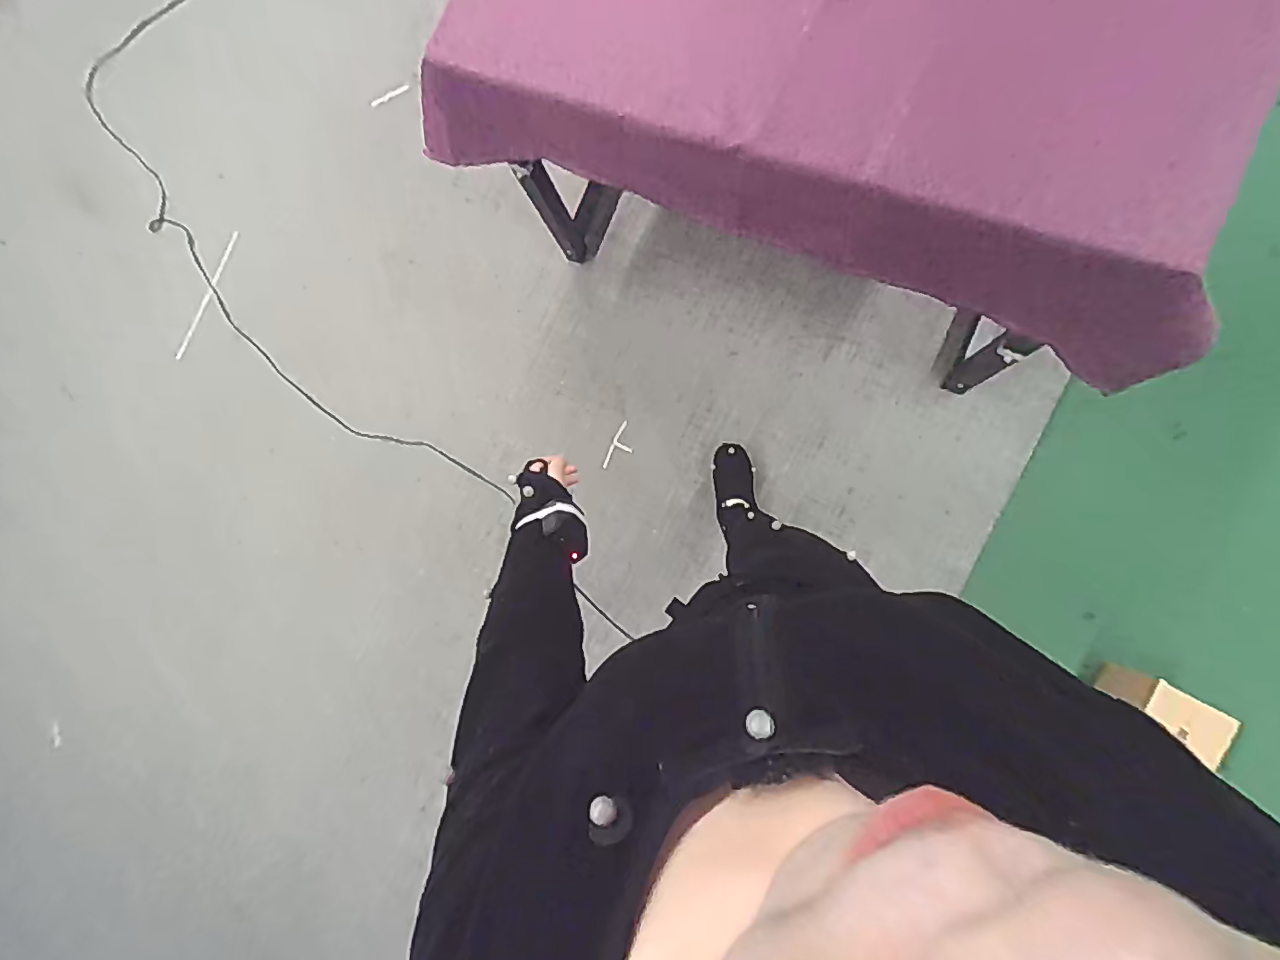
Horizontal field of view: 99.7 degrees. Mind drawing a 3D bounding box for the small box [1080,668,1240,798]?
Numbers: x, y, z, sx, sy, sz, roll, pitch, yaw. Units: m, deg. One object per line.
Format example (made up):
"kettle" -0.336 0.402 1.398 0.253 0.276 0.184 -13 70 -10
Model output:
"small box" 1.142 0.552 1.208 0.168 0.176 0.179 28 89 11
